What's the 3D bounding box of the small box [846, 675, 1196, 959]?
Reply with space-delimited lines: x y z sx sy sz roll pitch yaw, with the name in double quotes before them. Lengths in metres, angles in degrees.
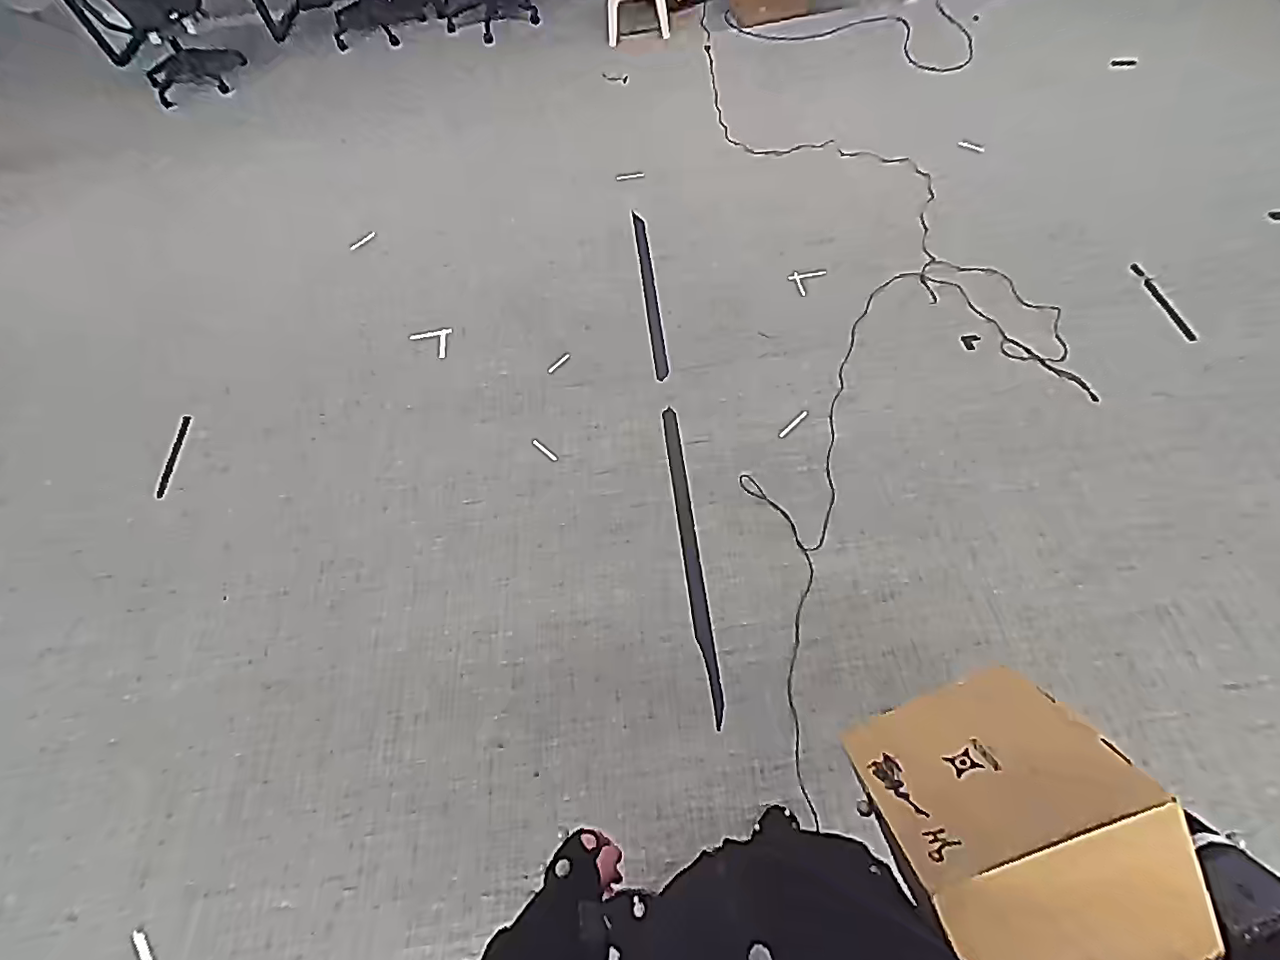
"small box" 0.315 0.311 0.467 0.179 0.168 0.176 -25 100 4
